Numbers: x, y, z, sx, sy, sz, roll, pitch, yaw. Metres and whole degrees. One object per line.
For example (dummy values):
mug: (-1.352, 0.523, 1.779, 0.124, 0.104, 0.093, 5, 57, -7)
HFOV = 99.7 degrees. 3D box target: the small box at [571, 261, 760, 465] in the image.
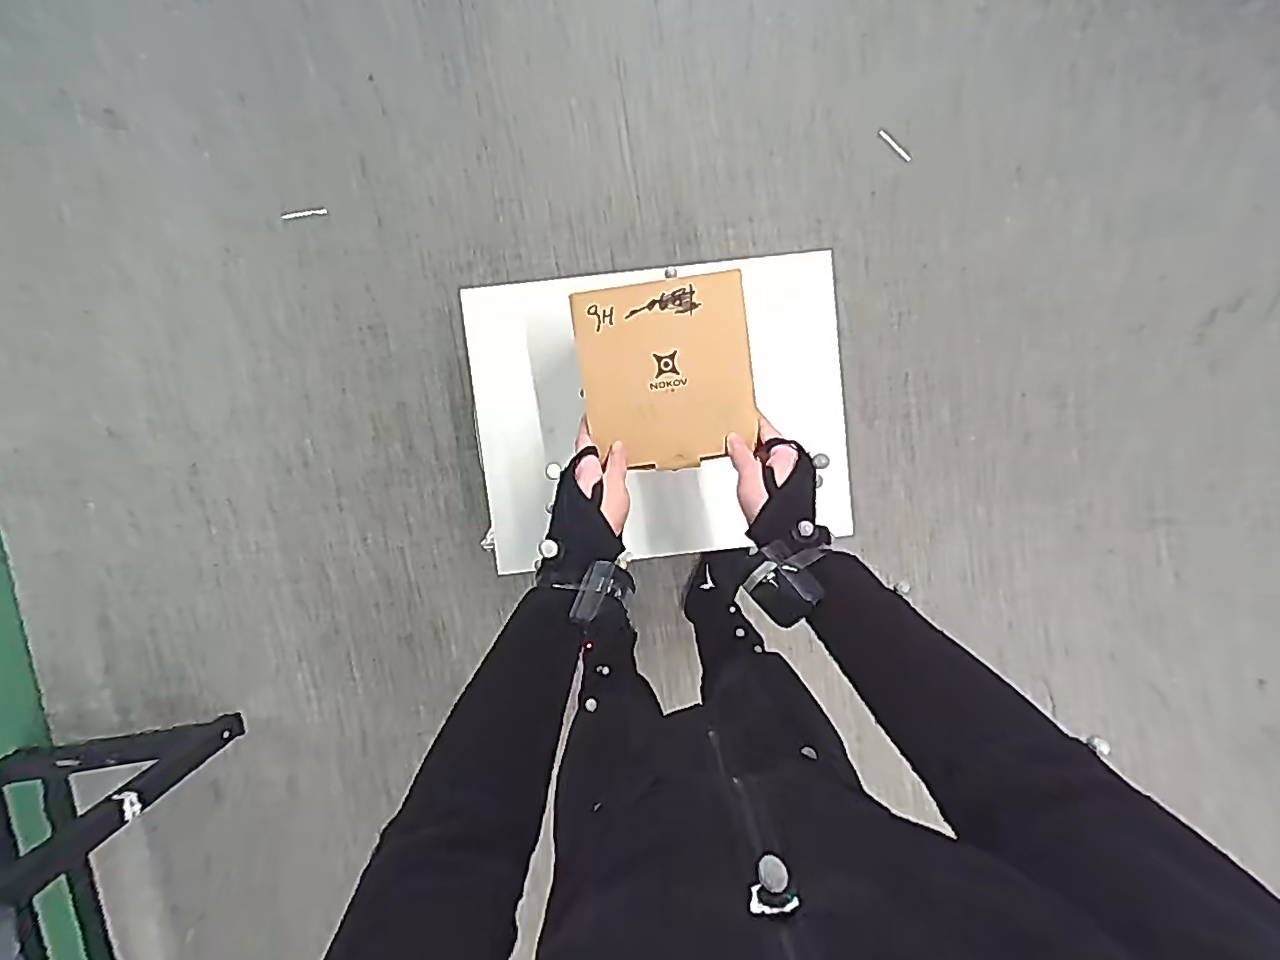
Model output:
small box: (0.030, -0.123, 0.607, 0.168, 0.176, 0.179, -10, 97, 3)
